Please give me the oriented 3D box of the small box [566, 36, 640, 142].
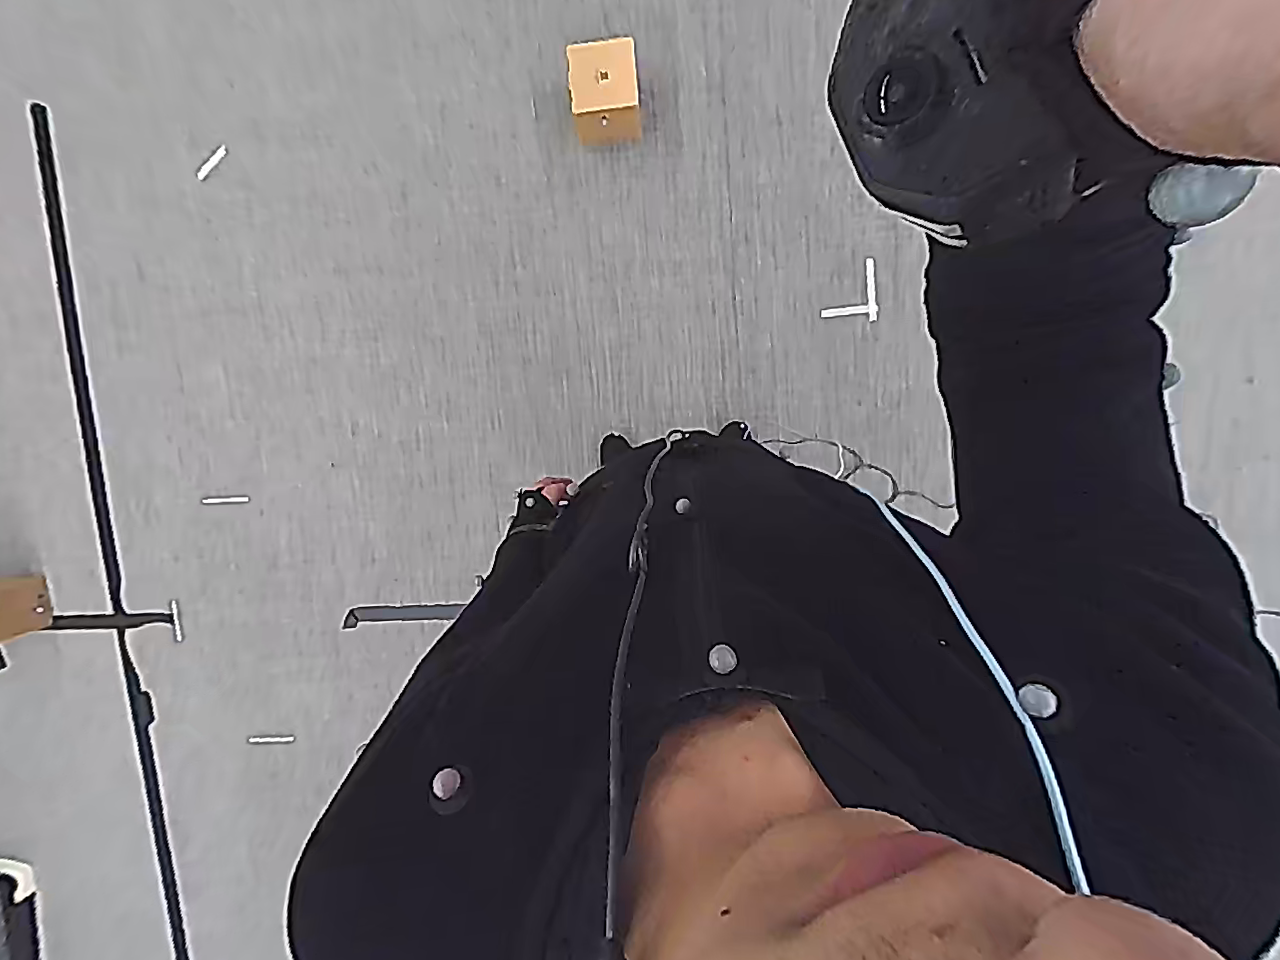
[{"bbox_3d":[-0.093,-1.045,1.458,0.179,0.176,0.168,-5,96,4],"label":"small box"}]
